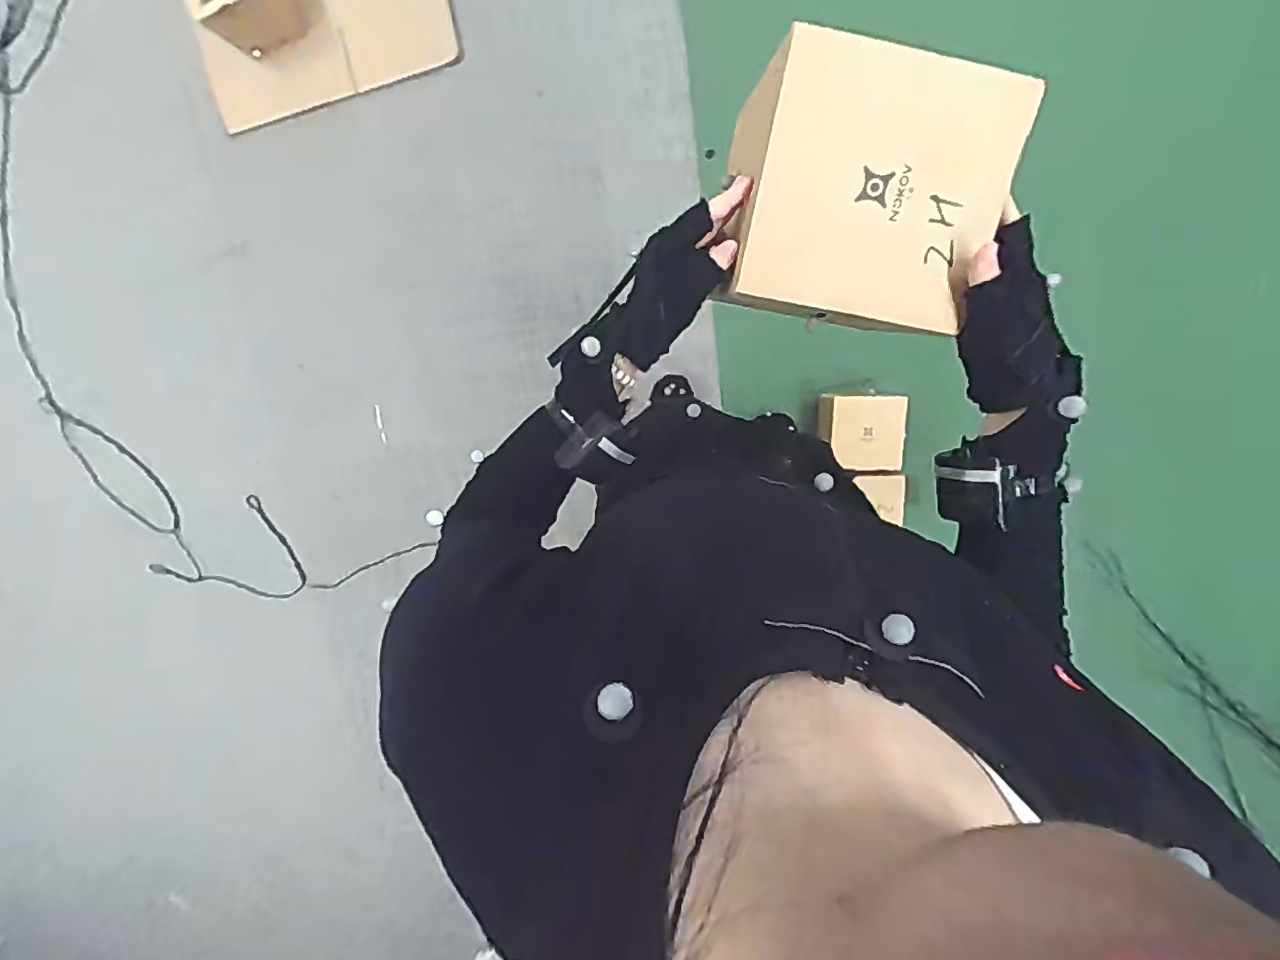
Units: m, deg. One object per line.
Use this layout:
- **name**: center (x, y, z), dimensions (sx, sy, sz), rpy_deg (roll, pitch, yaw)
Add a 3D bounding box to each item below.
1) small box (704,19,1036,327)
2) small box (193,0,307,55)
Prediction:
- **small box**: center (0.158, -0.225, 0.445), dimensions (0.179, 0.176, 0.168), rpy_deg (9, 107, -4)
- **small box**: center (-0.955, -1.180, 1.309), dimensions (0.168, 0.176, 0.179), rpy_deg (-14, 99, 11)
